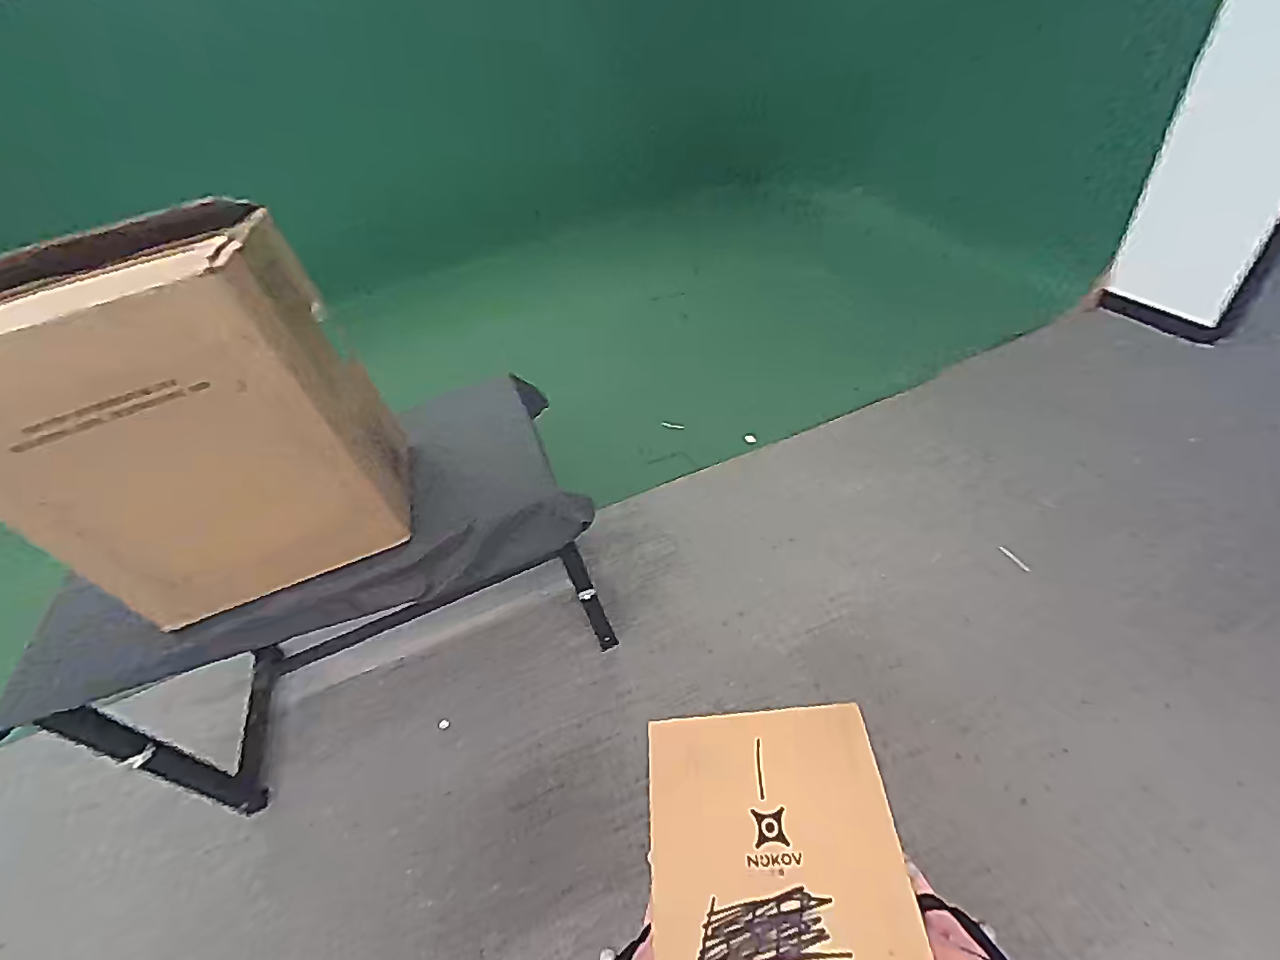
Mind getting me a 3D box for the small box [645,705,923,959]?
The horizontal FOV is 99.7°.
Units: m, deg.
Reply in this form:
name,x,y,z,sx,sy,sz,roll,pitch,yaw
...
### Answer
name,x,y,z,sx,sy,sz,roll,pitch,yaw
small box,0.102,0.300,0.420,0.168,0.176,0.179,-9,44,8
